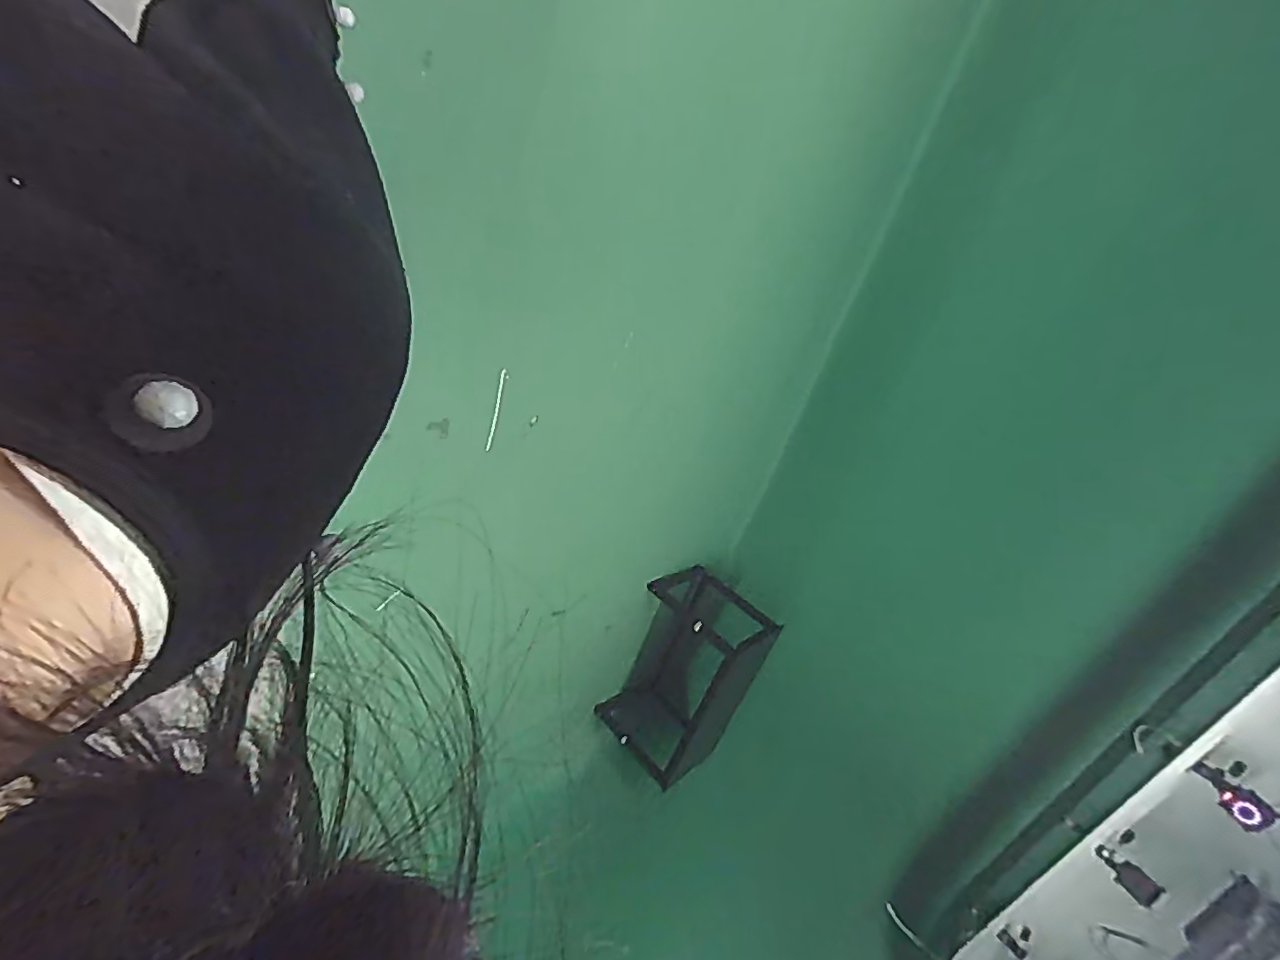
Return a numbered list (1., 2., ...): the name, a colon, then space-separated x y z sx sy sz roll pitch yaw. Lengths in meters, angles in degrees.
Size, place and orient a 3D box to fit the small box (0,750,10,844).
1. small box: -1.614 0.769 1.269 0.168 0.176 0.179 -5 123 -50
